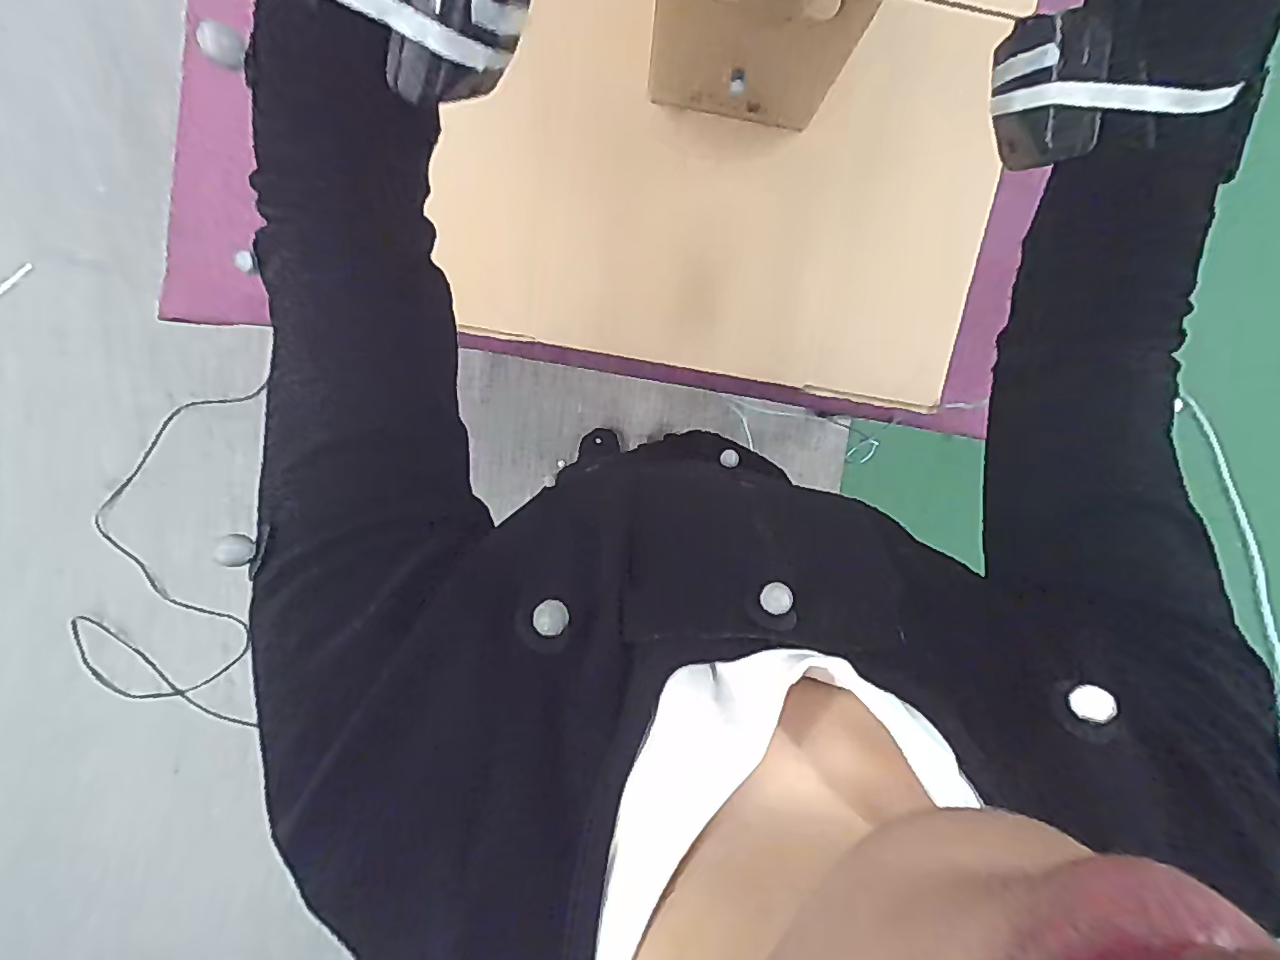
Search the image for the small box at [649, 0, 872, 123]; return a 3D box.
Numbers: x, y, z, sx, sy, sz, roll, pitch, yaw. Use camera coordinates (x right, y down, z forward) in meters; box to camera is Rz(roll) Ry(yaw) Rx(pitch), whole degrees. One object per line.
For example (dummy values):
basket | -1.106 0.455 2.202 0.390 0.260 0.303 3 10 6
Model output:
small box | 0.103 -0.453 0.459 0.168 0.176 0.179 9 93 -3
